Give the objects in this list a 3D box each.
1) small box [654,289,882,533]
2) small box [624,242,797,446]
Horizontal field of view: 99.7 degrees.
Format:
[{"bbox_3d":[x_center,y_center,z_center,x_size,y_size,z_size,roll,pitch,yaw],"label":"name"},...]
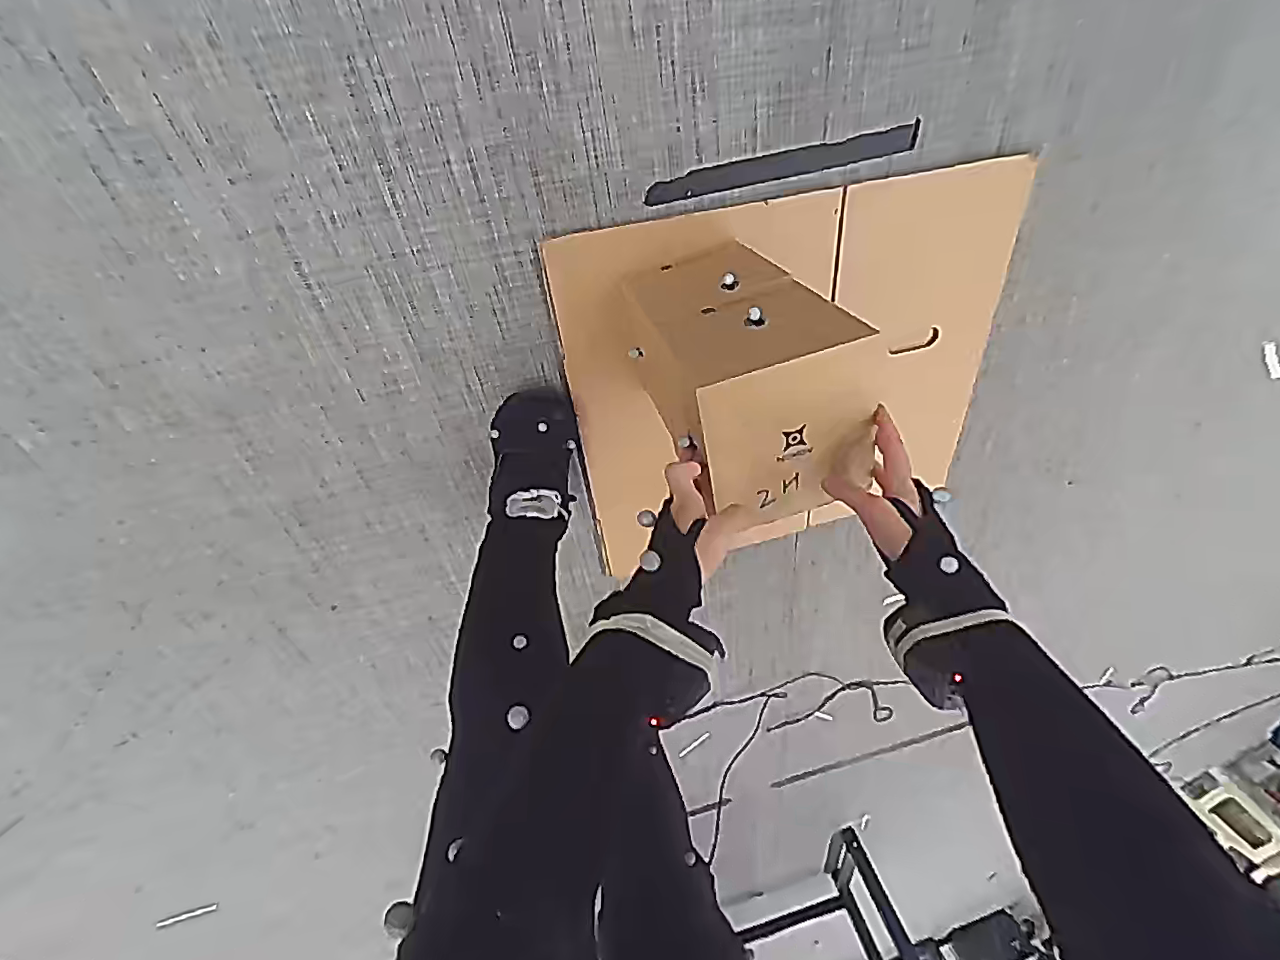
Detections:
[{"bbox_3d":[0.121,-0.081,0.555,0.168,0.176,0.179,-17,128,-3],"label":"small box"},{"bbox_3d":[0.088,-0.175,0.686,0.168,0.176,0.179,-19,129,-3],"label":"small box"}]
